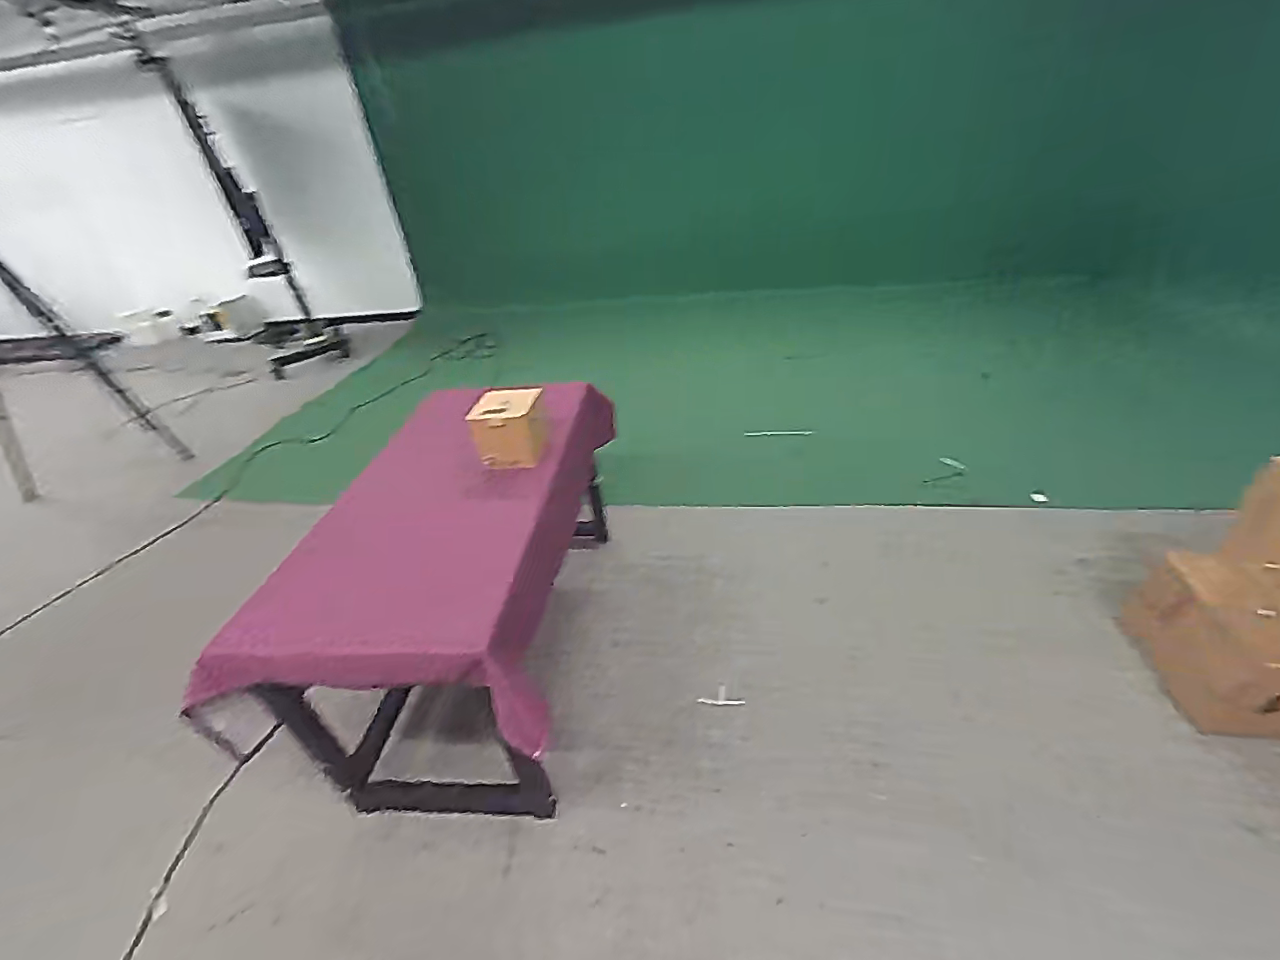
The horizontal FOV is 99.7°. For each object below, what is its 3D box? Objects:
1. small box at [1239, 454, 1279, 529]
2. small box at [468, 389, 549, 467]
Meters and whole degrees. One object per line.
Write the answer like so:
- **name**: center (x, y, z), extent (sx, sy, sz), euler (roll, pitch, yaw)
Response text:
- **small box**: center (1.705, 0.048, 1.361), extent (0.168, 0.176, 0.179), euler (0, 34, 7)
- **small box**: center (-0.375, -0.148, 1.581), extent (0.168, 0.176, 0.179), euler (-1, 34, 9)
